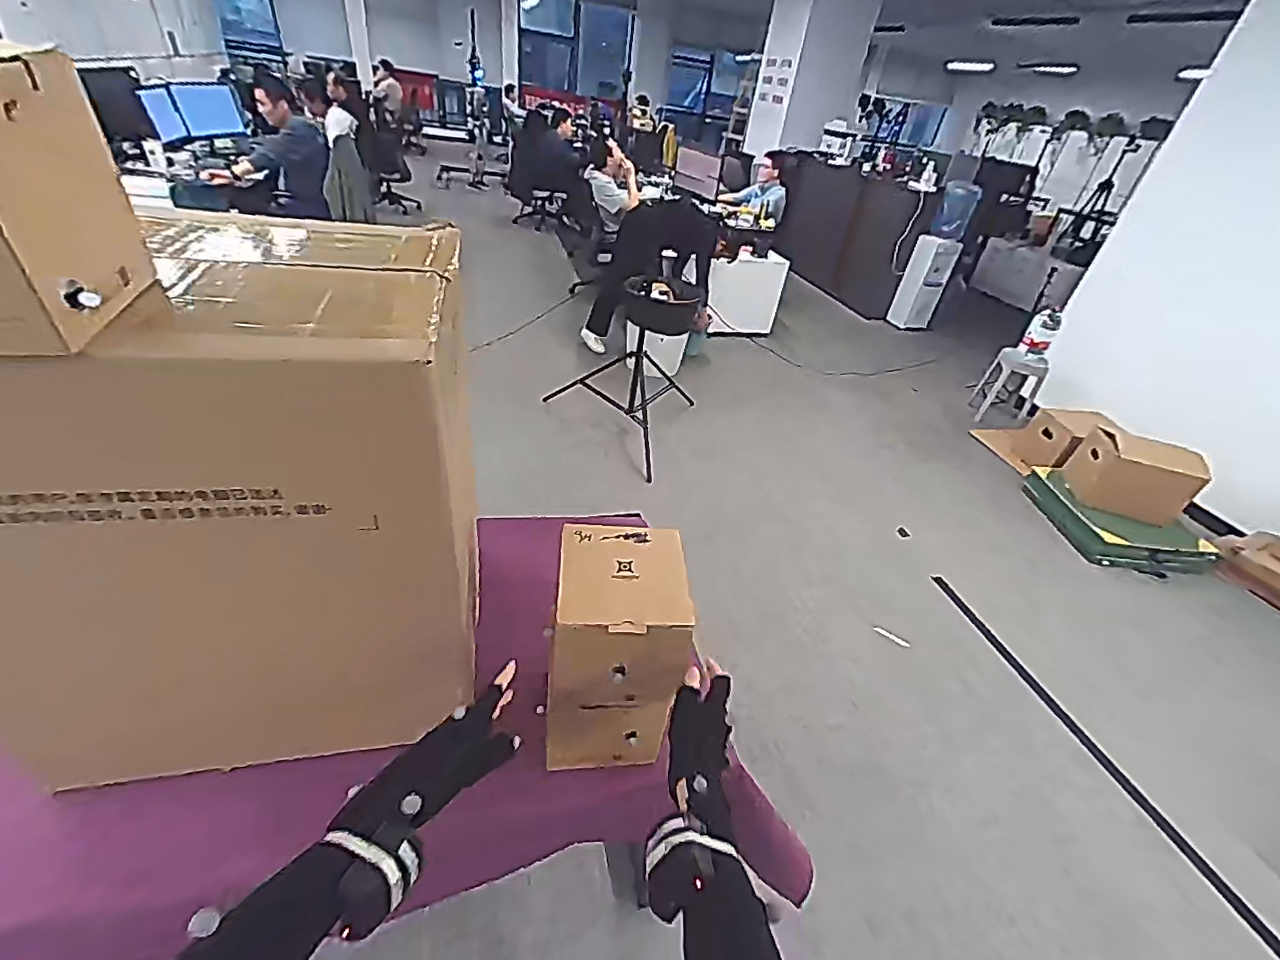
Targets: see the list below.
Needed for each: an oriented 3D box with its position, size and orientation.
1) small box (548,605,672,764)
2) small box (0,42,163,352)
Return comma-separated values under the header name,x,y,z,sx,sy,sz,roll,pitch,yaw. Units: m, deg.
name,x,y,z,sx,sy,sz,roll,pitch,yaw
small box,-0.054,0.316,0.832,0.168,0.176,0.179,2,35,-11
small box,-0.488,-0.197,0.374,0.179,0.176,0.168,-4,40,-16
